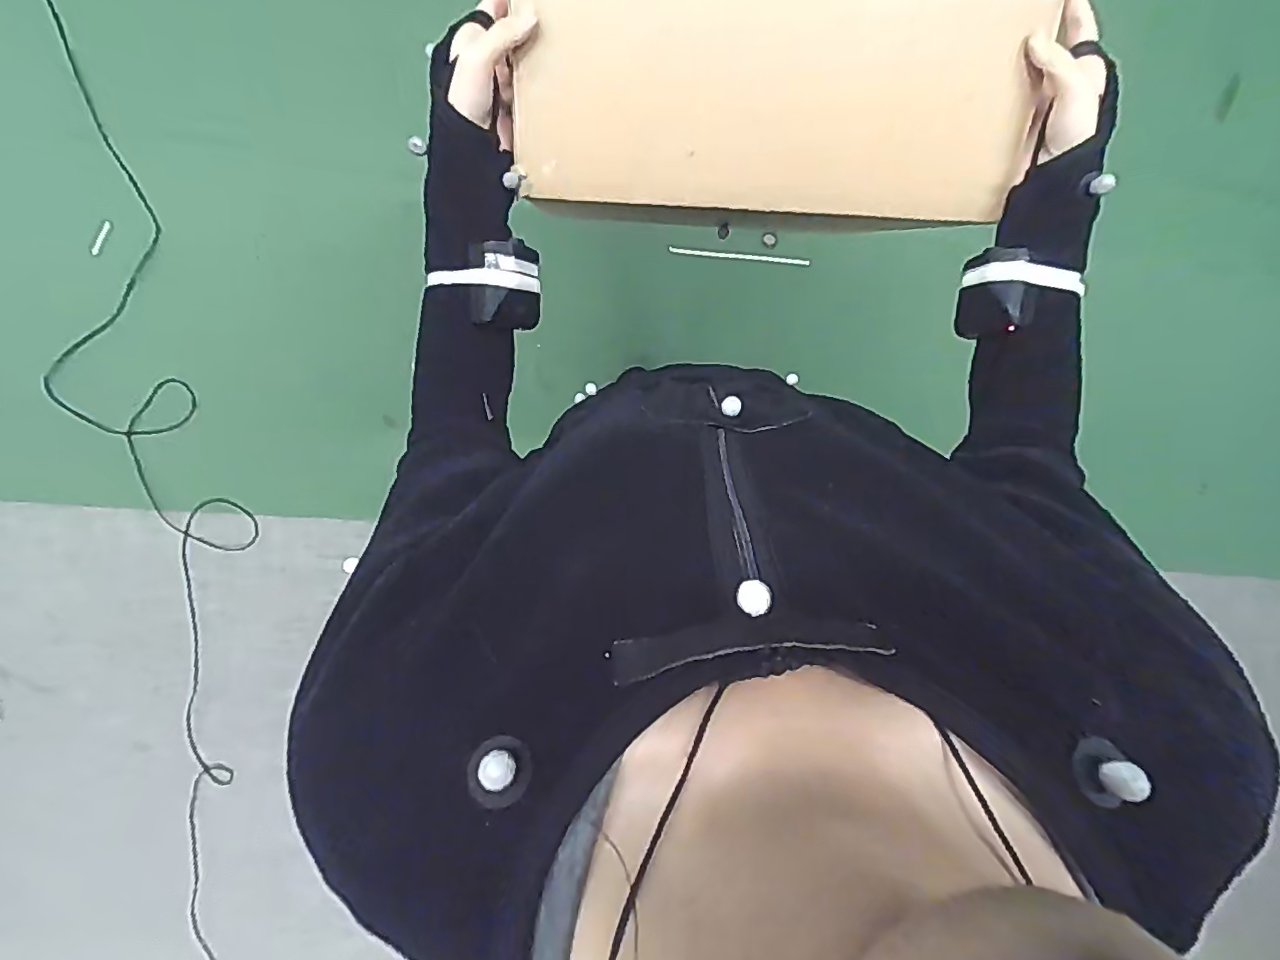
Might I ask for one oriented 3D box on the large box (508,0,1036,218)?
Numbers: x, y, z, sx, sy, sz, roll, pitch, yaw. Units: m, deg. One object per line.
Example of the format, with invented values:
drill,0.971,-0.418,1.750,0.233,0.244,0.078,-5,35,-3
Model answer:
large box,0.096,-0.431,0.526,0.408,0.320,0.320,1,113,-4
